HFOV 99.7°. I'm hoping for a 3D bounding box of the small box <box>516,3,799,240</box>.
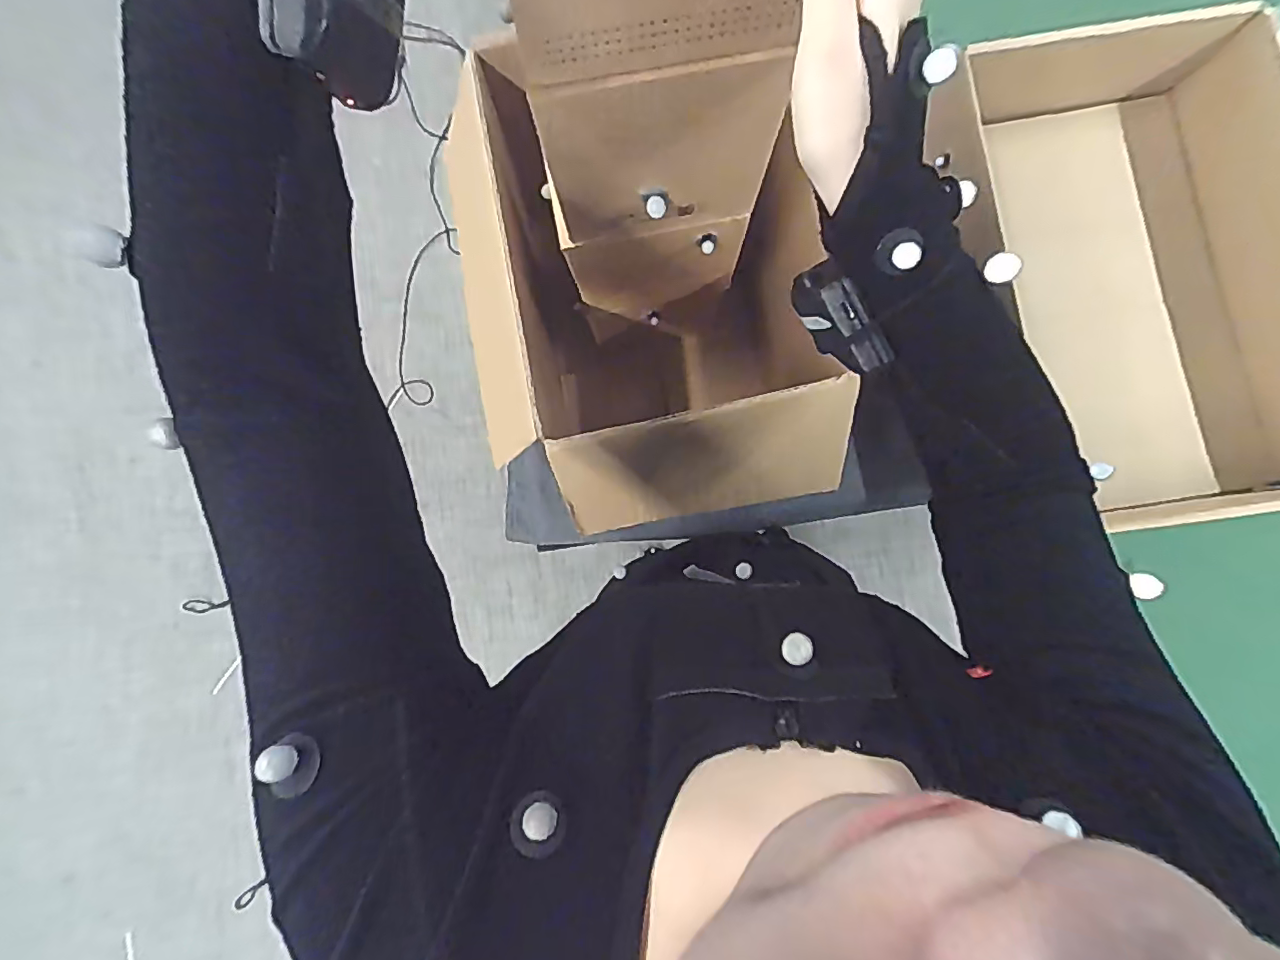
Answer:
[{"bbox_3d":[0.003,-0.312,0.406,0.168,0.176,0.179,-9,87,1],"label":"small box"}]
